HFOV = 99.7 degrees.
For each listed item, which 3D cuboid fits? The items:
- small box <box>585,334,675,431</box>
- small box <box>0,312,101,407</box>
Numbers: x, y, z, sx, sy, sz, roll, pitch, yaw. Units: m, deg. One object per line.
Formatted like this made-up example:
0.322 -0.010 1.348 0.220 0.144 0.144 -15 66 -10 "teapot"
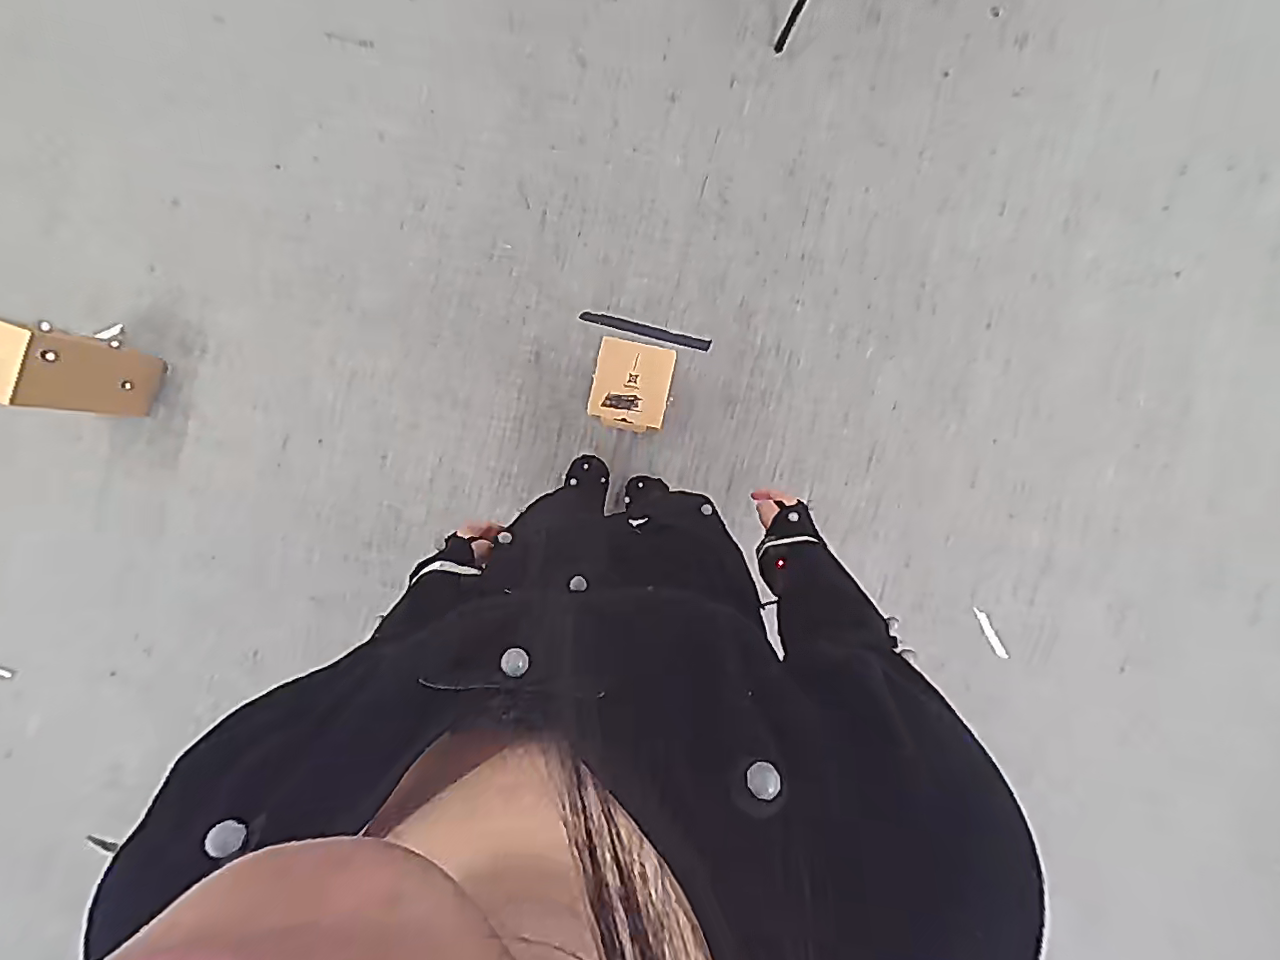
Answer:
-0.020 -0.215 1.243 0.168 0.176 0.179 13 91 0 "small box"
-1.439 -0.285 1.272 0.168 0.176 0.179 20 93 1 "small box"
